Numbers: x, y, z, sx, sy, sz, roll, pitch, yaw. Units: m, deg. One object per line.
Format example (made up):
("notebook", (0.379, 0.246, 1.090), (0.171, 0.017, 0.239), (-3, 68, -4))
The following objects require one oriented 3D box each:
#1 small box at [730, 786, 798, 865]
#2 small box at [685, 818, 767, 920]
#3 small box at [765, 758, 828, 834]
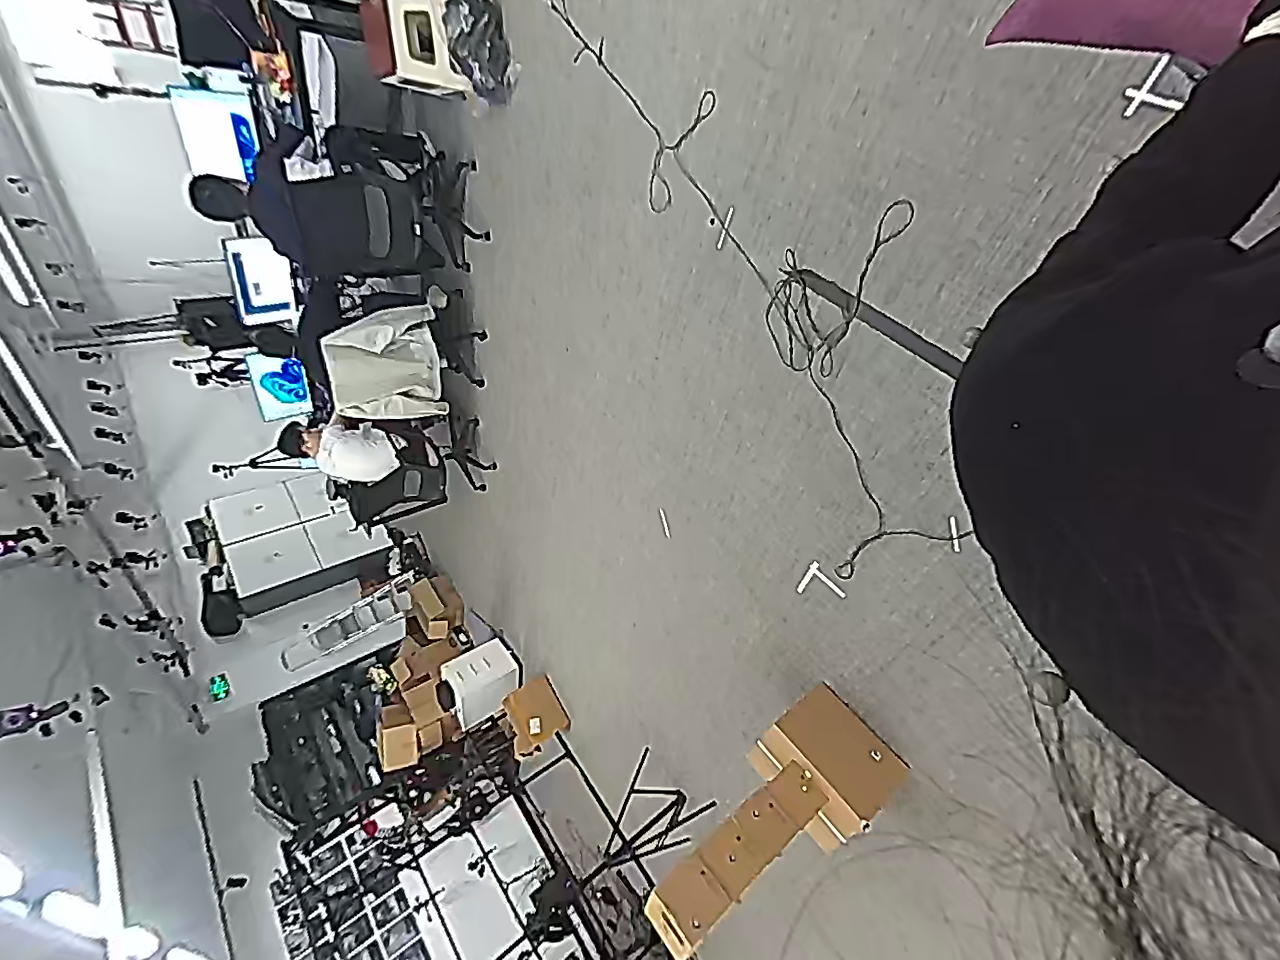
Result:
("small box", (0.393, 1.153, 1.783), (0.168, 0.176, 0.179), (44, 138, 33))
("small box", (0.270, 1.206, 1.688), (0.168, 0.176, 0.179), (41, 135, 36))
("small box", (0.519, 1.113, 1.878), (0.168, 0.176, 0.179), (44, 137, 31))
